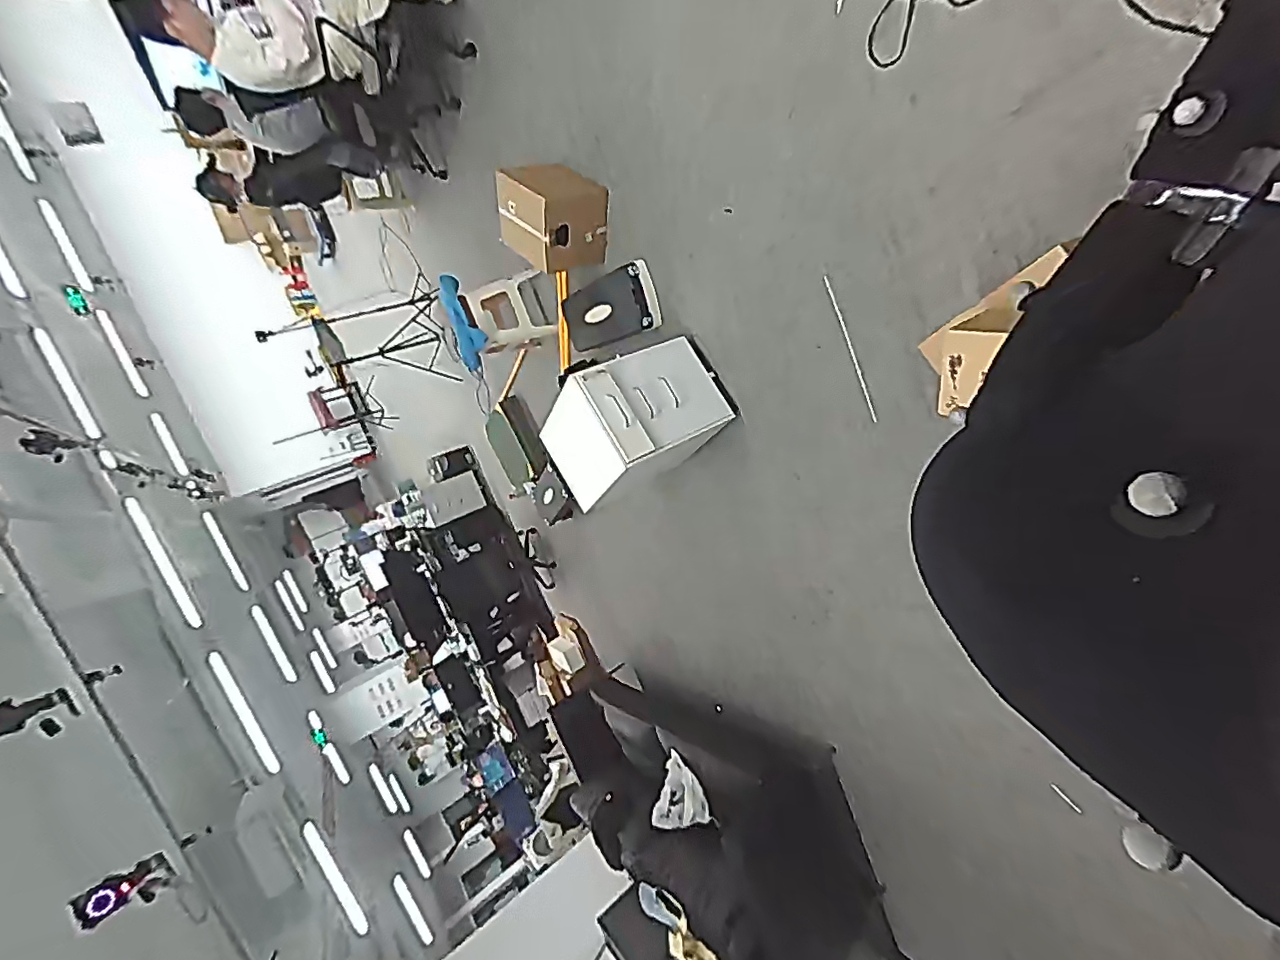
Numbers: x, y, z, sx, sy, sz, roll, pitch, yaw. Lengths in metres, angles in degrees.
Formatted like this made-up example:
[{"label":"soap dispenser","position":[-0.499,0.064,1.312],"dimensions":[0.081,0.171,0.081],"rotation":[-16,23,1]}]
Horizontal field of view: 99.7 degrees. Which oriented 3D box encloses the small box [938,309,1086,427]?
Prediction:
[{"label":"small box","position":[0.688,-0.216,1.003],"dimensions":[0.179,0.176,0.168],"rotation":[21,129,46]}]
